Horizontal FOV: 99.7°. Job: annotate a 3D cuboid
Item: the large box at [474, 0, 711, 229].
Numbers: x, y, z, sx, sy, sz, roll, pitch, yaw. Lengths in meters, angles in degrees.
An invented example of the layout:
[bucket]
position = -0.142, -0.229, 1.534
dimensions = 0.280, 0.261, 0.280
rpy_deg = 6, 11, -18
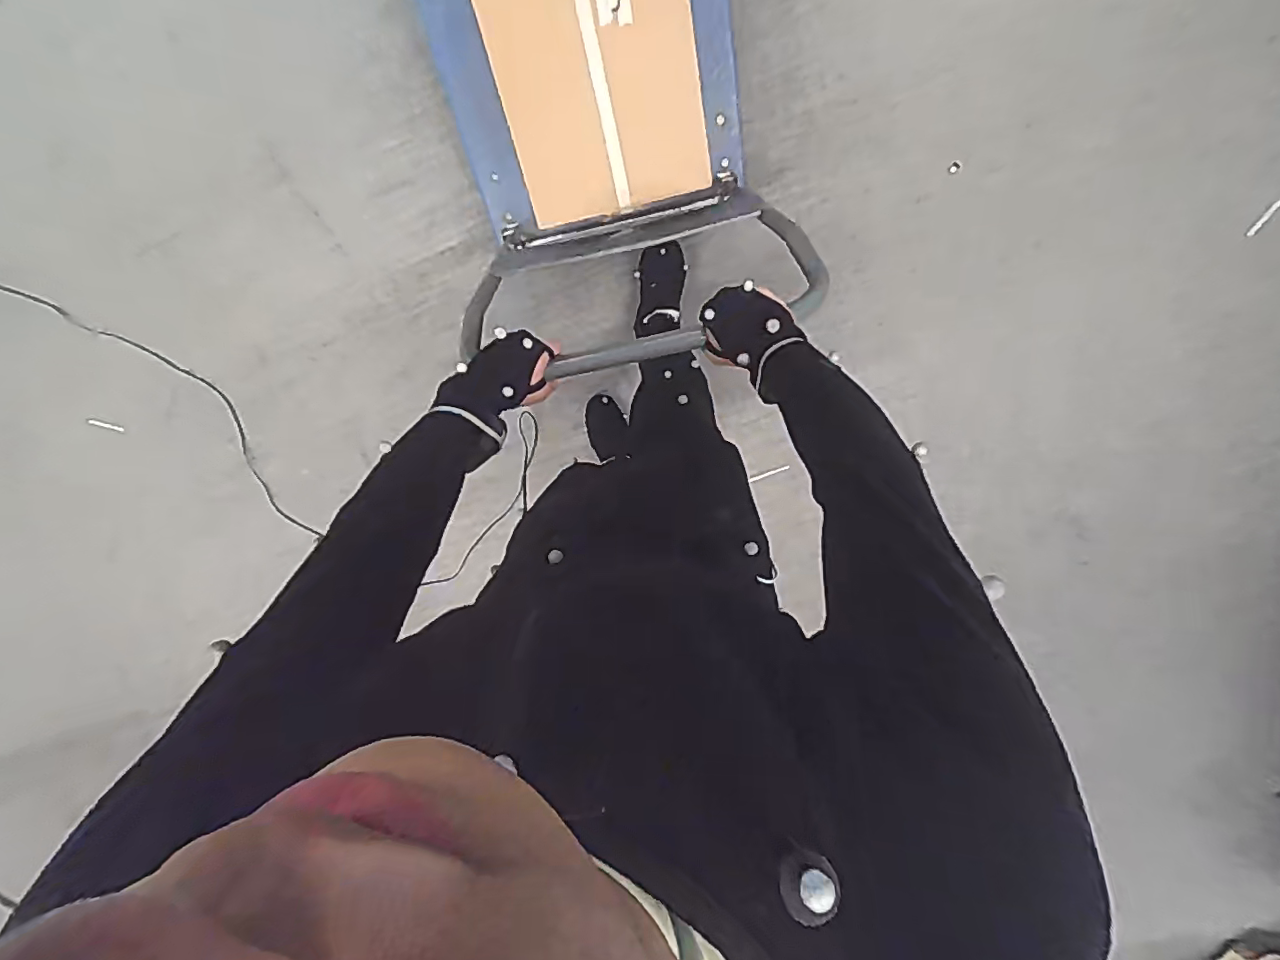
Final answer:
[large box]
position = -0.072, -0.717, 0.973
dimensions = 0.320, 0.320, 0.408
rpy_deg = -11, 122, 5
